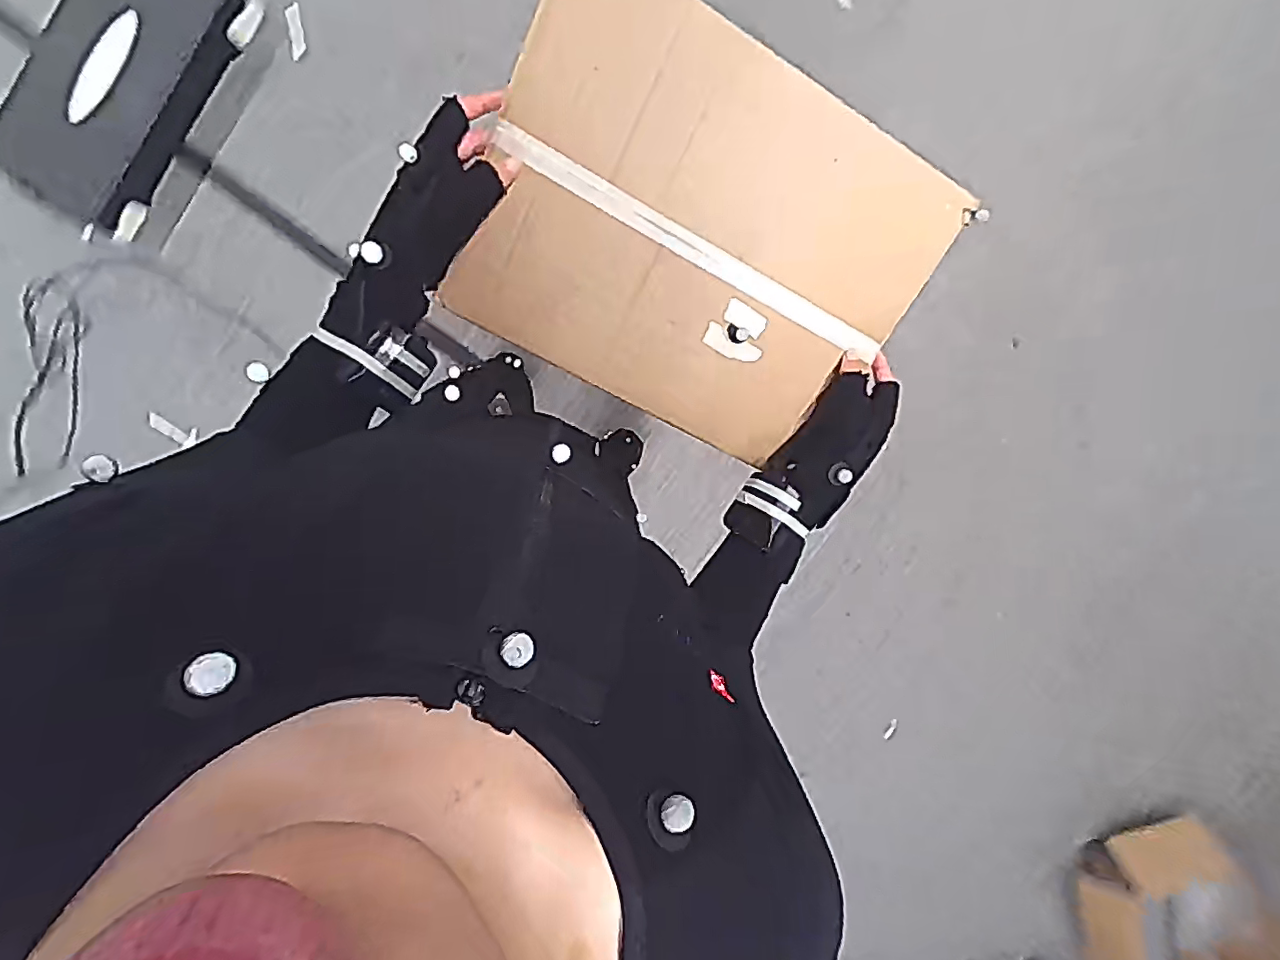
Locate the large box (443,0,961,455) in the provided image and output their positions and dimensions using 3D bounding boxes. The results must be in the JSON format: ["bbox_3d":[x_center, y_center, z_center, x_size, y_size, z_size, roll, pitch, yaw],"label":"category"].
[{"bbox_3d":[0.044,-0.284,0.638,0.408,0.320,0.320,23,111,-13],"label":"large box"}]
